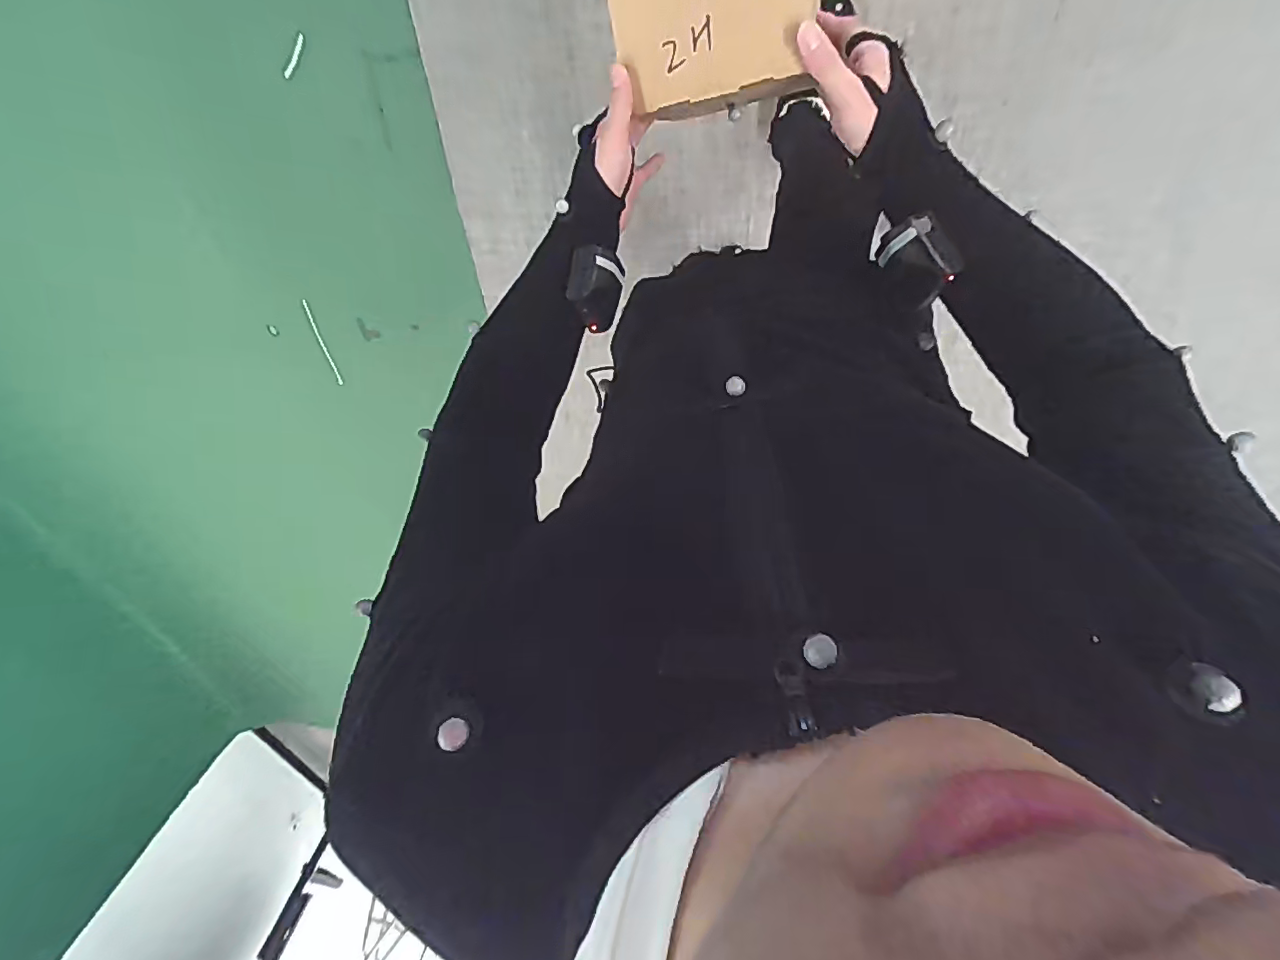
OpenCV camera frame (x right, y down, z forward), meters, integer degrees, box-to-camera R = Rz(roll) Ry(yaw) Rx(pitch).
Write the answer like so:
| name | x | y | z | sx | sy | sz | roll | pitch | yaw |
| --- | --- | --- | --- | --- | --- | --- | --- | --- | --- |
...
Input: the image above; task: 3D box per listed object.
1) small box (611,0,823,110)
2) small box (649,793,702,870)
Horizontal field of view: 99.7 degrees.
| name | x | y | z | sx | sy | sz | roll | pitch | yaw |
| --- | --- | --- | --- | --- | --- | --- | --- | --- | --- |
| small box | 0.075 | -0.460 | 0.492 | 0.168 | 0.176 | 0.179 | 1 | 121 | 22 |
| small box | 0.131 | 1.253 | 1.929 | 0.168 | 0.176 | 0.179 | 4 | 130 | 11 |
